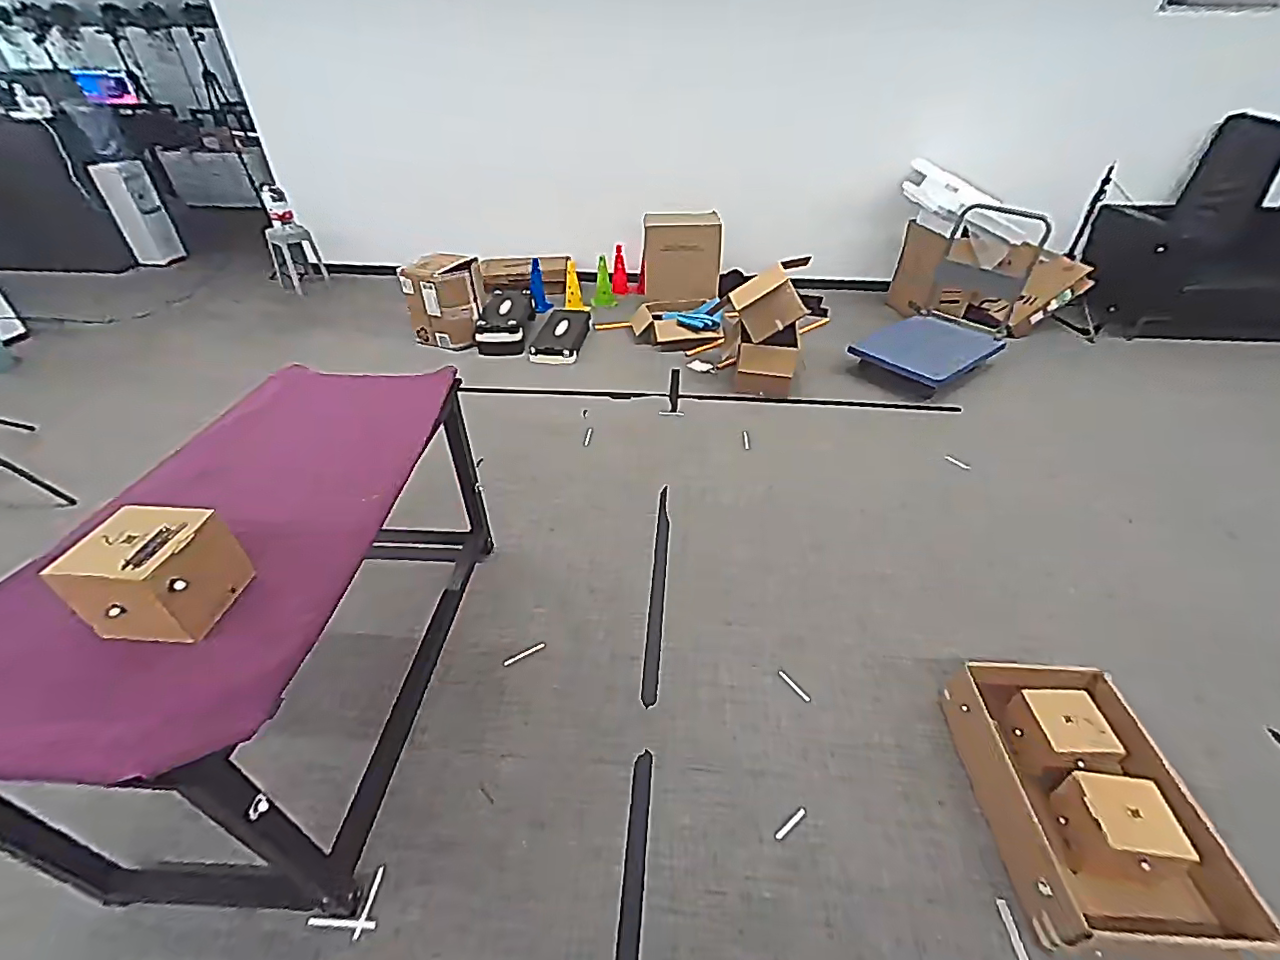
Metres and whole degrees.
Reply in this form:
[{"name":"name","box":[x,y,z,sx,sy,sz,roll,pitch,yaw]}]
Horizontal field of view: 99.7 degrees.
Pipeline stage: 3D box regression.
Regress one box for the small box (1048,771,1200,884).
[{"name":"small box","box":[1.112,0.812,1.260,0.179,0.176,0.168,5,38,7]}]

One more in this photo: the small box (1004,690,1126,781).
[{"name":"small box","box":[1.104,0.676,1.430,0.179,0.176,0.168,1,40,1]}]
